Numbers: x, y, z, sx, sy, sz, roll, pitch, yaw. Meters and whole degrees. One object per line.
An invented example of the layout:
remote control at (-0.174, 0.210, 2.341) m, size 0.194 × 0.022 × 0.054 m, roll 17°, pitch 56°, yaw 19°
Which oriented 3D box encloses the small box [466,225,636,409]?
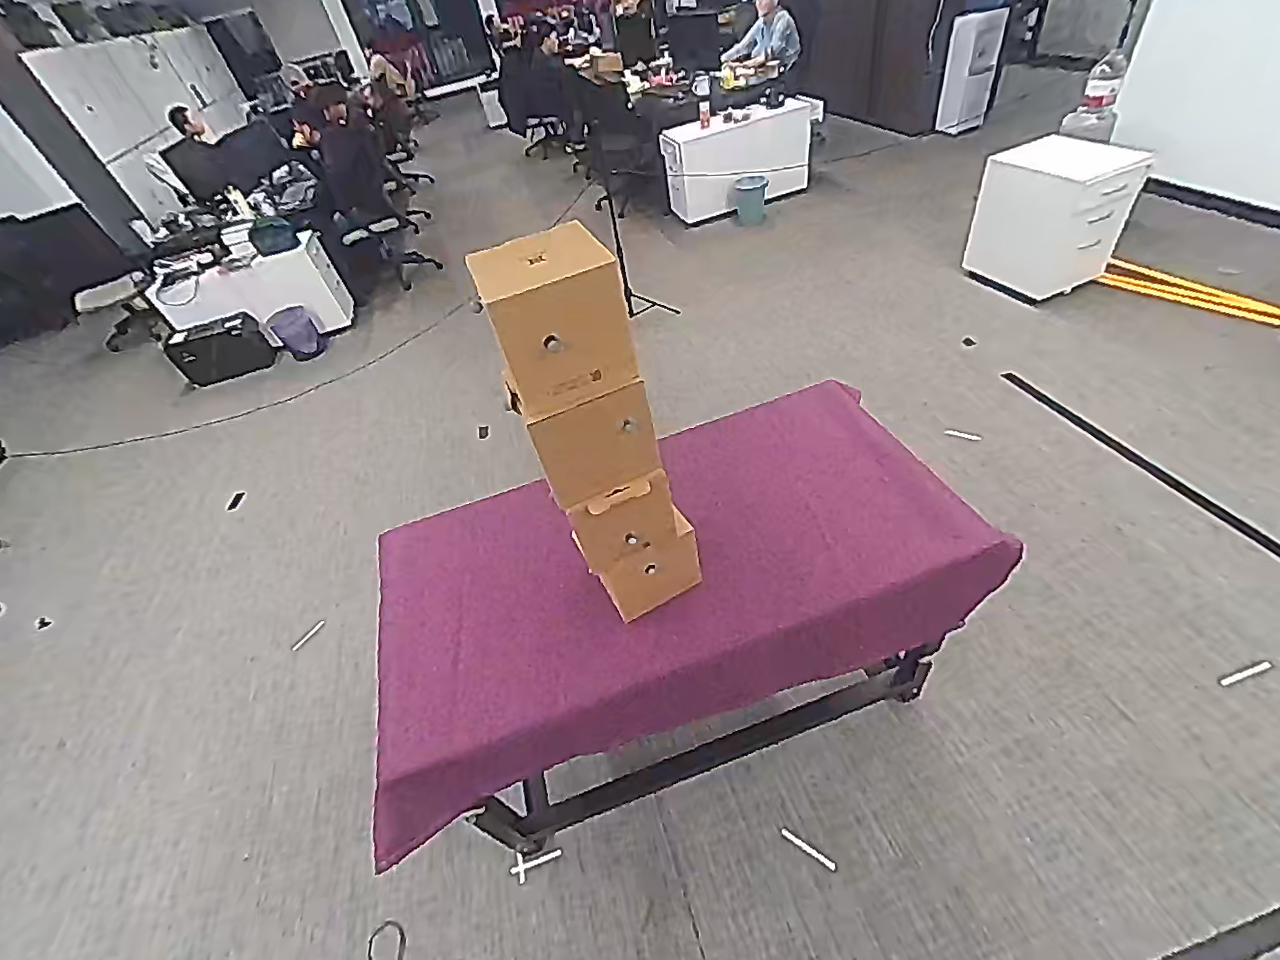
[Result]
small box at (-0.117, -0.218, 0.739) m, size 0.168 × 0.176 × 0.179 m, roll -22°, pitch 44°, yaw -9°

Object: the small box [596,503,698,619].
small box at (-0.002, 0.139, 1.059) m, size 0.179 × 0.176 × 0.168 m, roll -26°, pitch 46°, yaw -13°

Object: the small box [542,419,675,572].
small box at (-0.053, 0.027, 0.947) m, size 0.168 × 0.176 × 0.179 m, roll -23°, pitch 45°, yaw -9°
